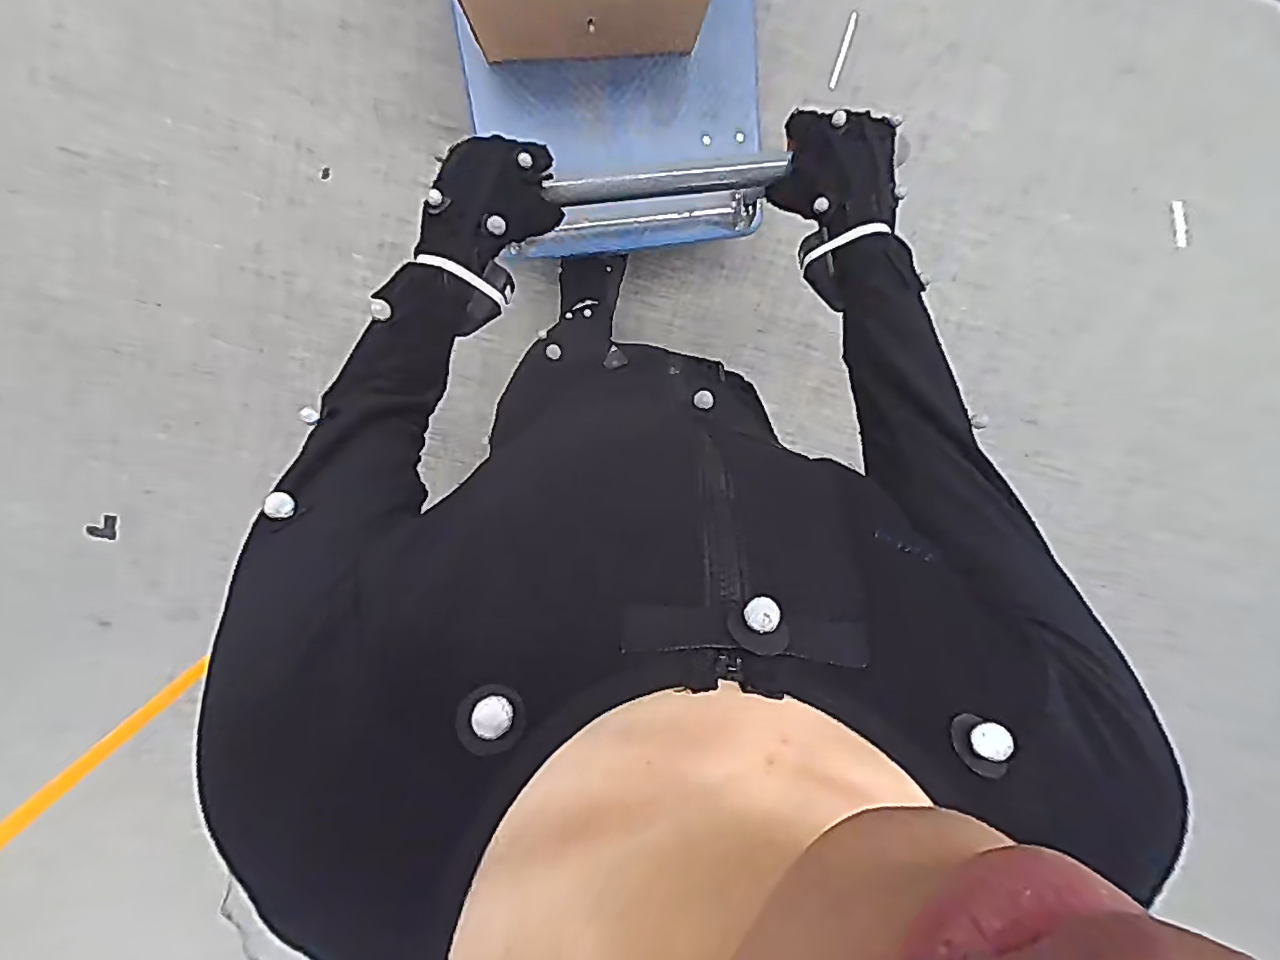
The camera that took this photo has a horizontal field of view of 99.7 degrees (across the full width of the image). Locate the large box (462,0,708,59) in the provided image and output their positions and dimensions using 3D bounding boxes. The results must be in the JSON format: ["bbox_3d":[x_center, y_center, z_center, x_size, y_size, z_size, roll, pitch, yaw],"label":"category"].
[{"bbox_3d":[-0.096,-0.928,0.865,0.408,0.320,0.320,-5,108,-2],"label":"large box"}]

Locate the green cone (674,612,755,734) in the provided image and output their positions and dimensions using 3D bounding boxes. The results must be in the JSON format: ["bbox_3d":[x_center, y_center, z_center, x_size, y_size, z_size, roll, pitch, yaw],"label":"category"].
[{"bbox_3d":[0.240,0.560,1.502,0.202,0.368,0.200,17,105,-11],"label":"green cone"}]
